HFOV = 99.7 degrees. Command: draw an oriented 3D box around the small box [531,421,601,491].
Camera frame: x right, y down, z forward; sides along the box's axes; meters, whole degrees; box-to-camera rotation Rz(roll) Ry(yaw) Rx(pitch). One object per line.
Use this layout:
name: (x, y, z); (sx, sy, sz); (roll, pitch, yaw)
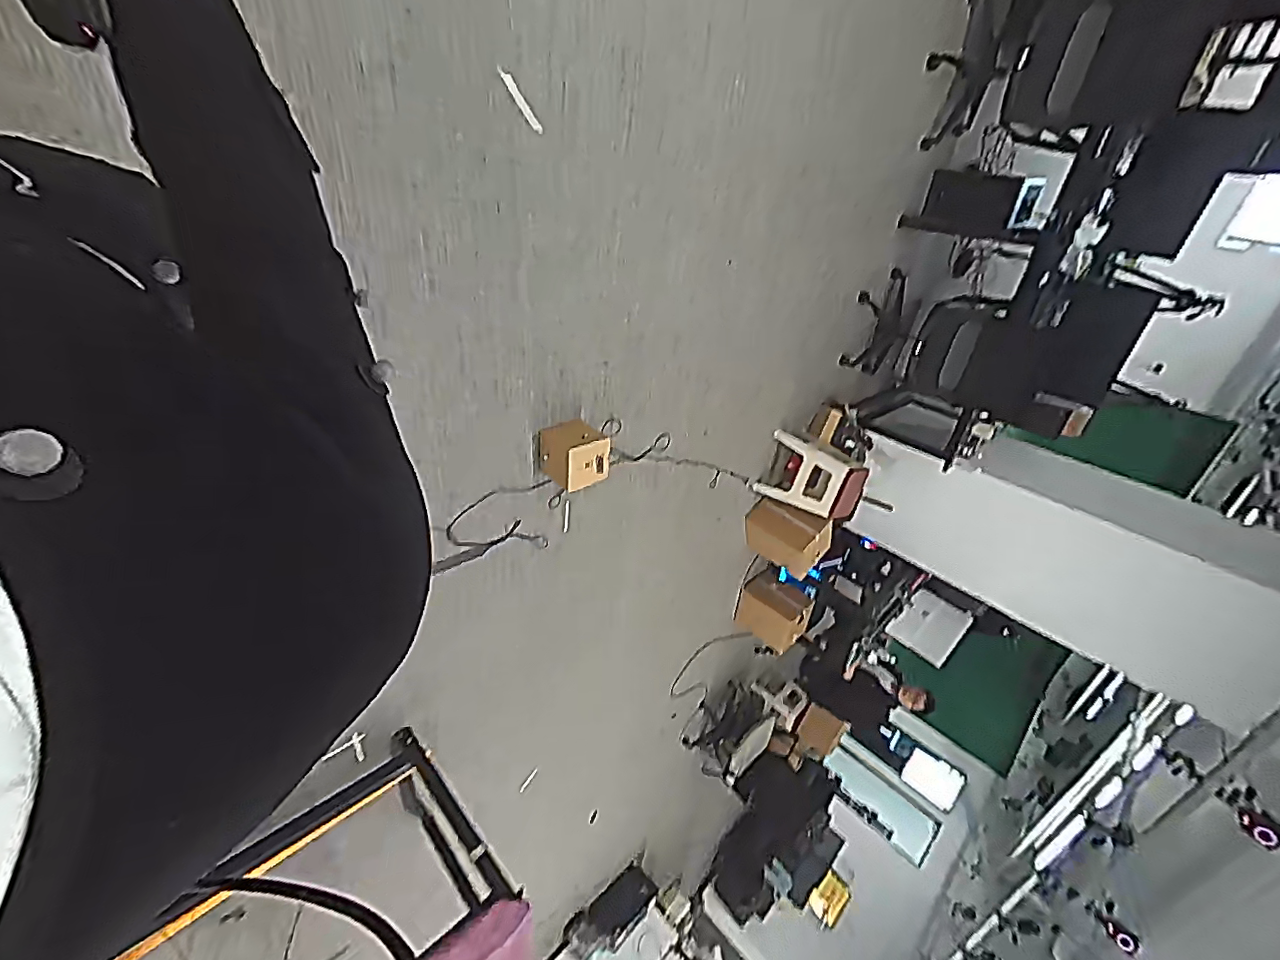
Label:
small box: (-0.257, -0.090, 1.866); (0.179, 0.176, 0.168); (-22, 131, -39)
